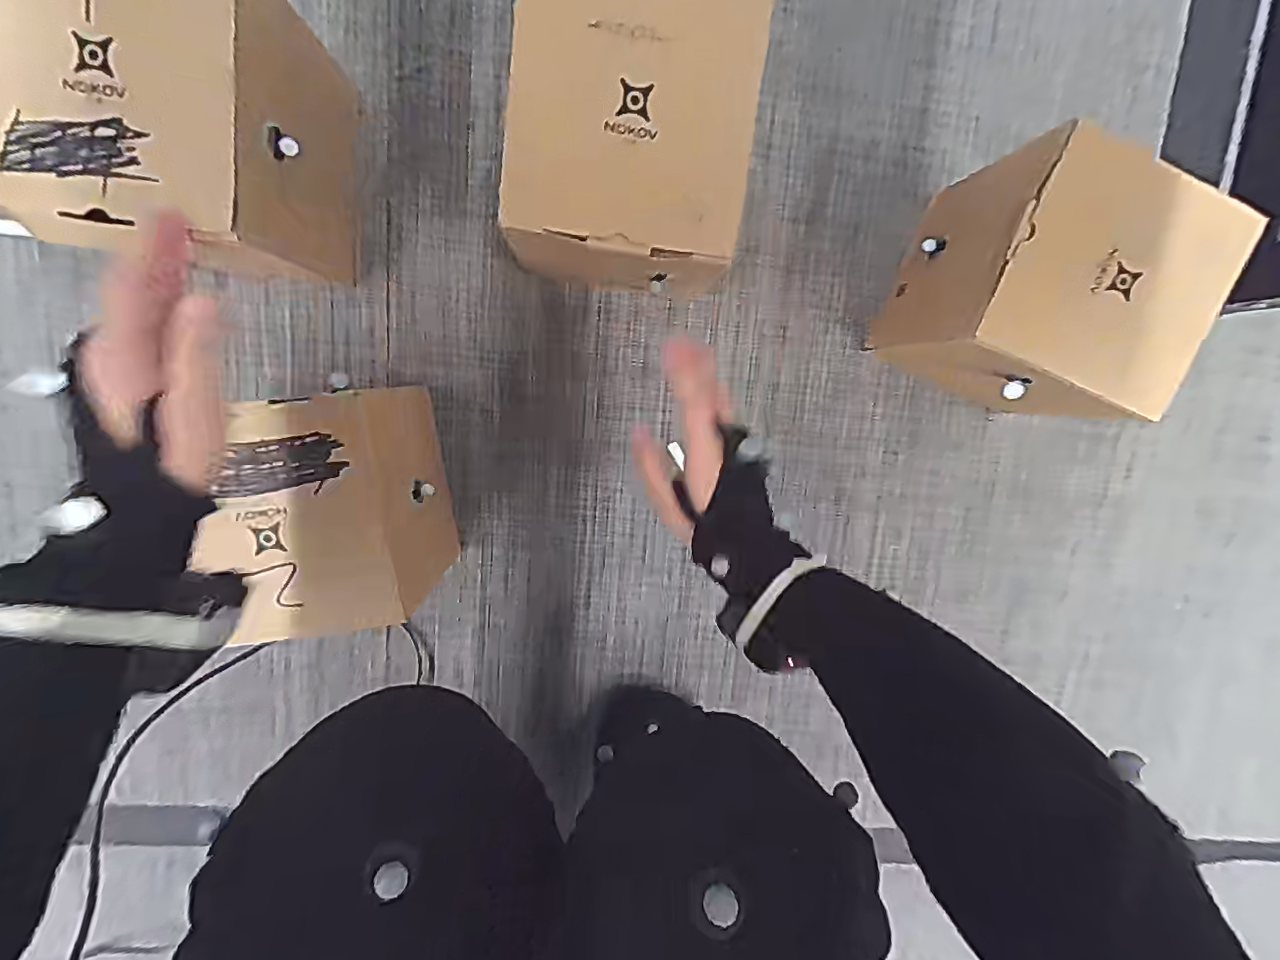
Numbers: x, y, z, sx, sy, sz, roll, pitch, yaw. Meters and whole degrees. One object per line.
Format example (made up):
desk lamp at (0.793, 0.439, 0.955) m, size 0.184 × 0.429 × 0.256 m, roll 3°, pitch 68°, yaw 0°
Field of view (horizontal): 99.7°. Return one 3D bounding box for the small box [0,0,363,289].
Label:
small box at (-0.329, -0.254, 0.410) m, size 0.168 × 0.176 × 0.179 m, roll 5°, pitch 98°, yaw -6°

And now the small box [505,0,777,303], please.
small box at (-0.006, -0.252, 0.438) m, size 0.168 × 0.176 × 0.179 m, roll 6°, pitch 98°, yaw -6°

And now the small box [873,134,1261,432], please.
small box at (0.351, -0.157, 0.483) m, size 0.179 × 0.176 × 0.168 m, roll 21°, pitch 97°, yaw -7°
